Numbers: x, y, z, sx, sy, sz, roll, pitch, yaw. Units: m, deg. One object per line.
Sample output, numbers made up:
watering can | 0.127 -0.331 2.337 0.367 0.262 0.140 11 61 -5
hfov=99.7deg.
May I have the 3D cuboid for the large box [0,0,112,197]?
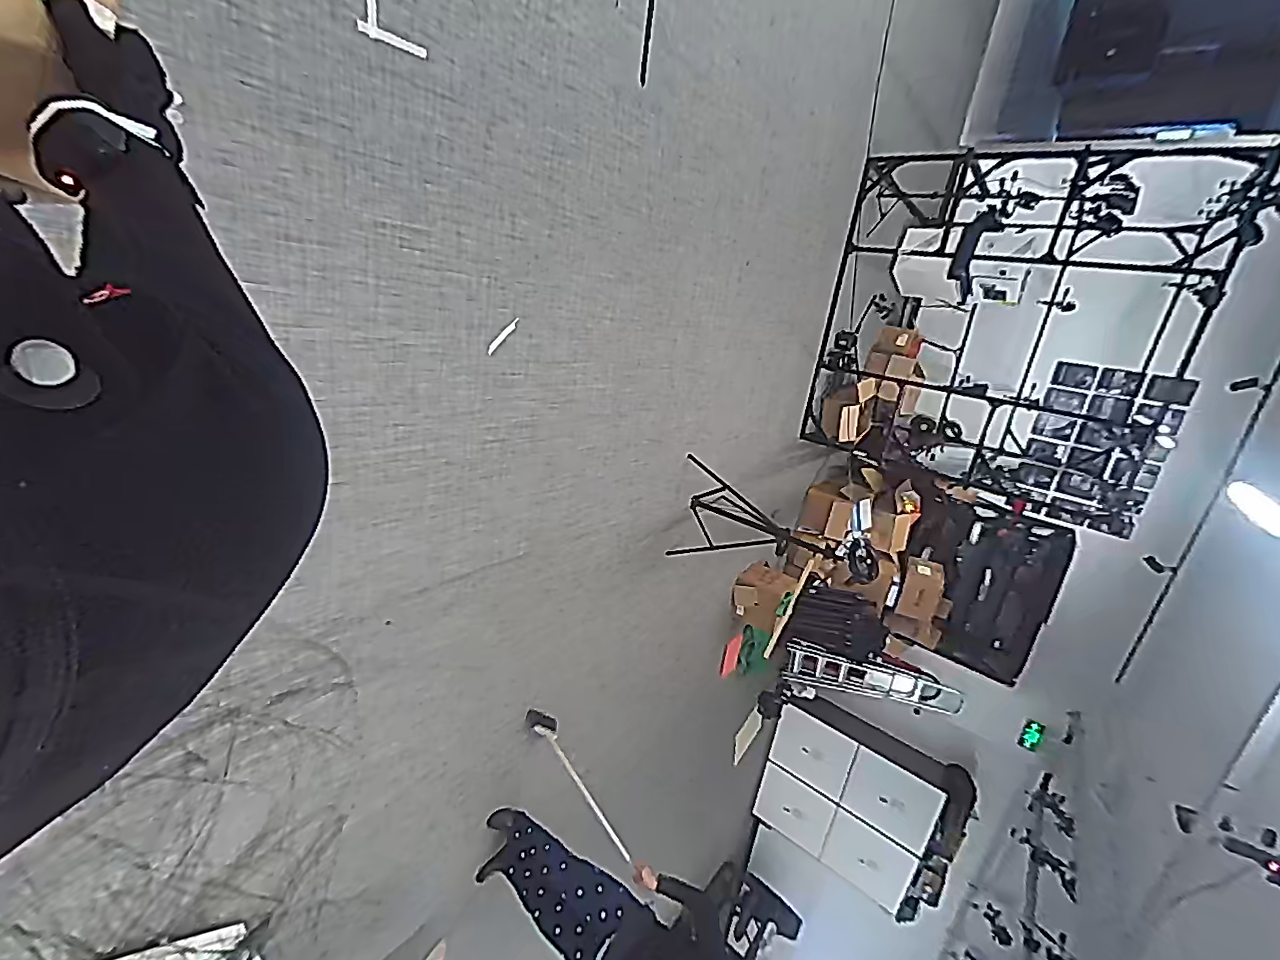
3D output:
large box | -0.704 -0.449 0.387 0.408 0.320 0.320 3 103 -60
